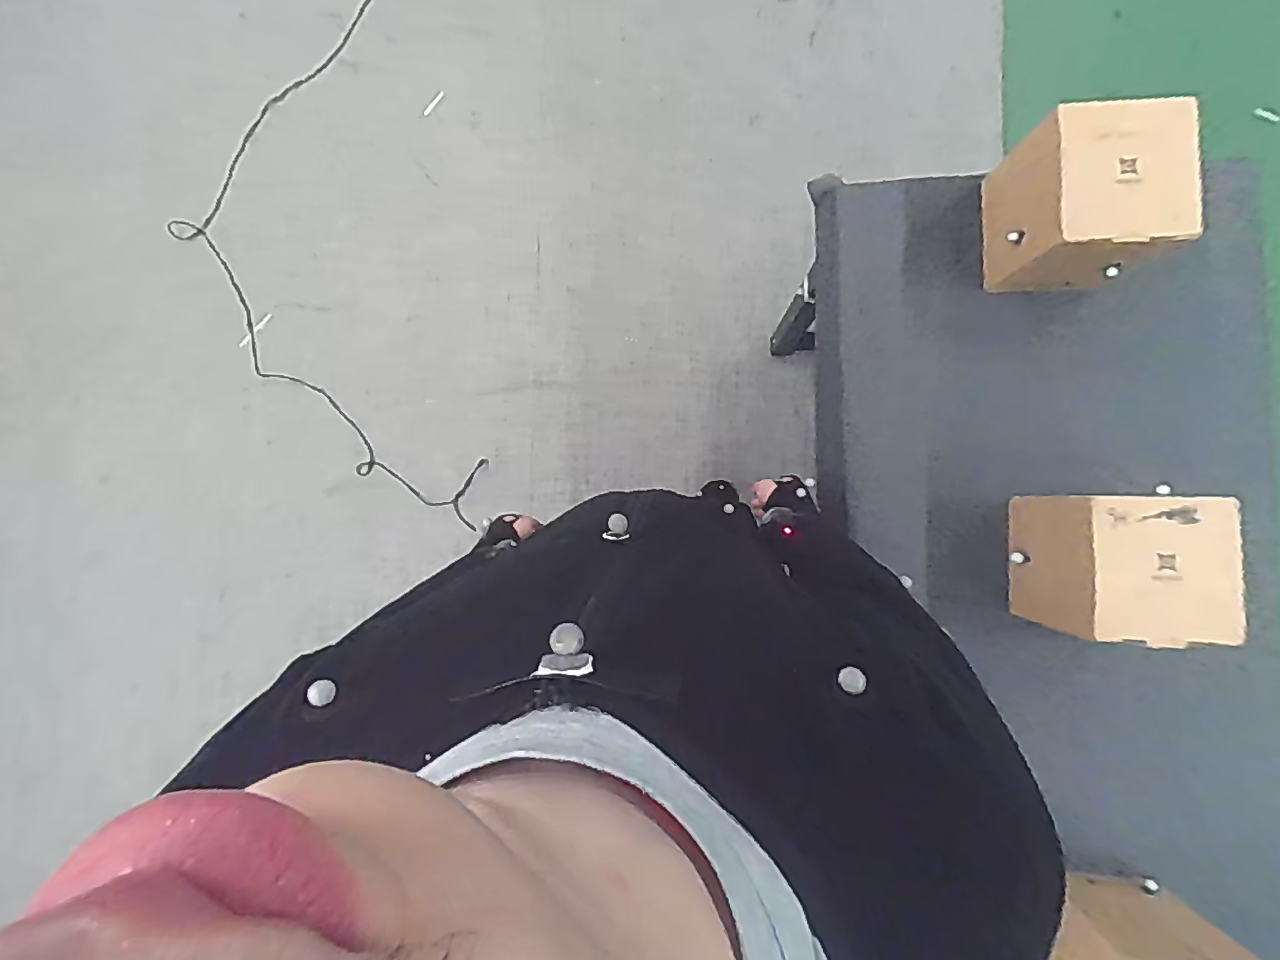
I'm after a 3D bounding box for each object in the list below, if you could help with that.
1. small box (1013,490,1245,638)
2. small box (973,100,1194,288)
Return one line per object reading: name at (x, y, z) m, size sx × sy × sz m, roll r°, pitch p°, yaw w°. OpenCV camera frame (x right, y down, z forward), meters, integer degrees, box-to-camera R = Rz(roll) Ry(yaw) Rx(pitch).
small box at (0.633, 0.102, 0.722) m, size 0.168 × 0.176 × 0.179 m, roll -1°, pitch 88°, yaw 2°
small box at (0.594, -0.378, 0.746) m, size 0.168 × 0.176 × 0.179 m, roll -3°, pitch 86°, yaw 0°
